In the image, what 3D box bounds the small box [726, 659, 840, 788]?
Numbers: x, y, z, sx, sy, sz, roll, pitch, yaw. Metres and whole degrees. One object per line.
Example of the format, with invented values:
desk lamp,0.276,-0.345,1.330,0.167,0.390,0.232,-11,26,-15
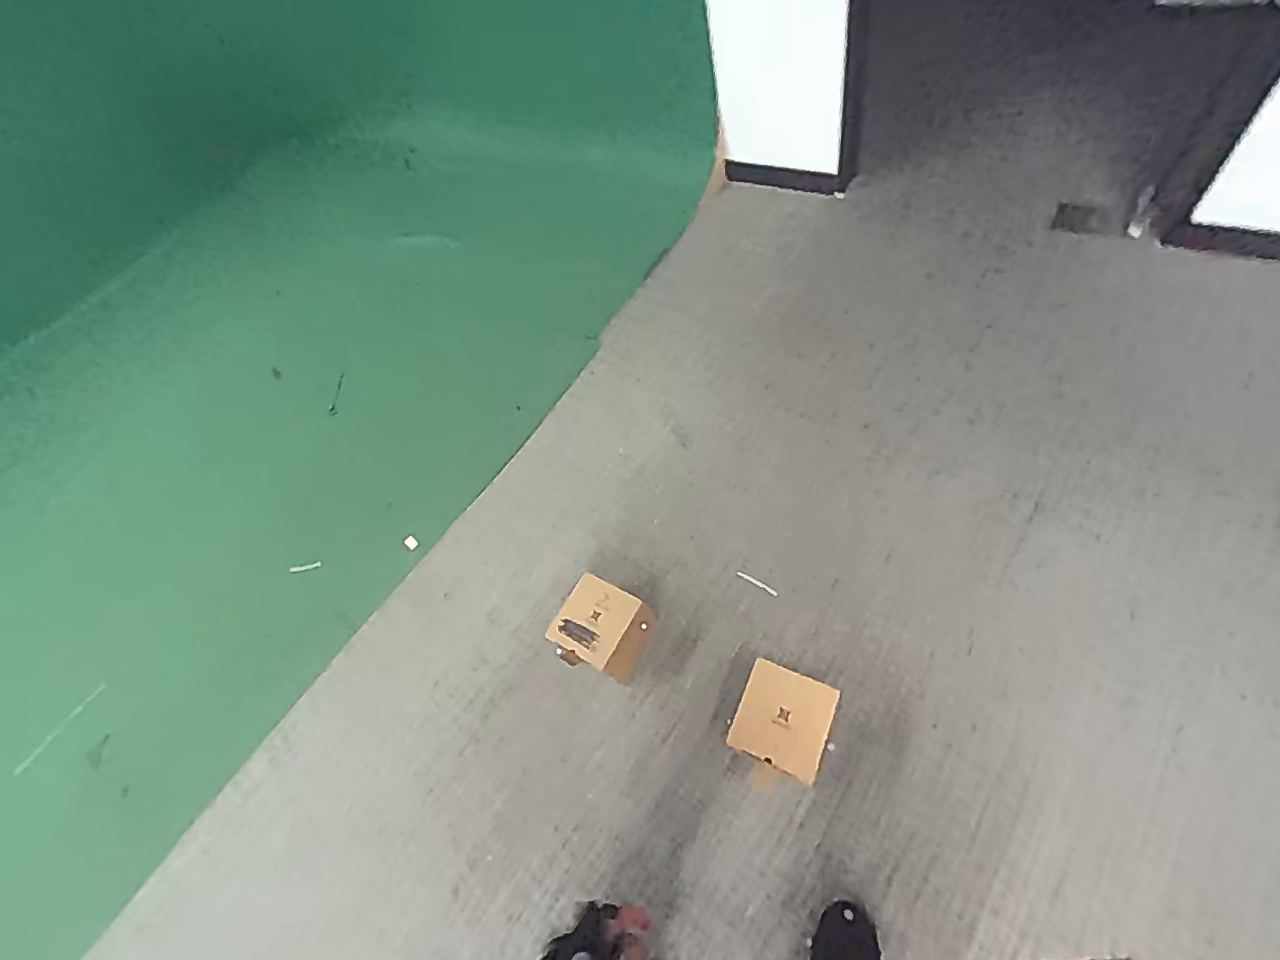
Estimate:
small box,0.286,0.488,1.081,0.168,0.176,0.179,17,66,25
